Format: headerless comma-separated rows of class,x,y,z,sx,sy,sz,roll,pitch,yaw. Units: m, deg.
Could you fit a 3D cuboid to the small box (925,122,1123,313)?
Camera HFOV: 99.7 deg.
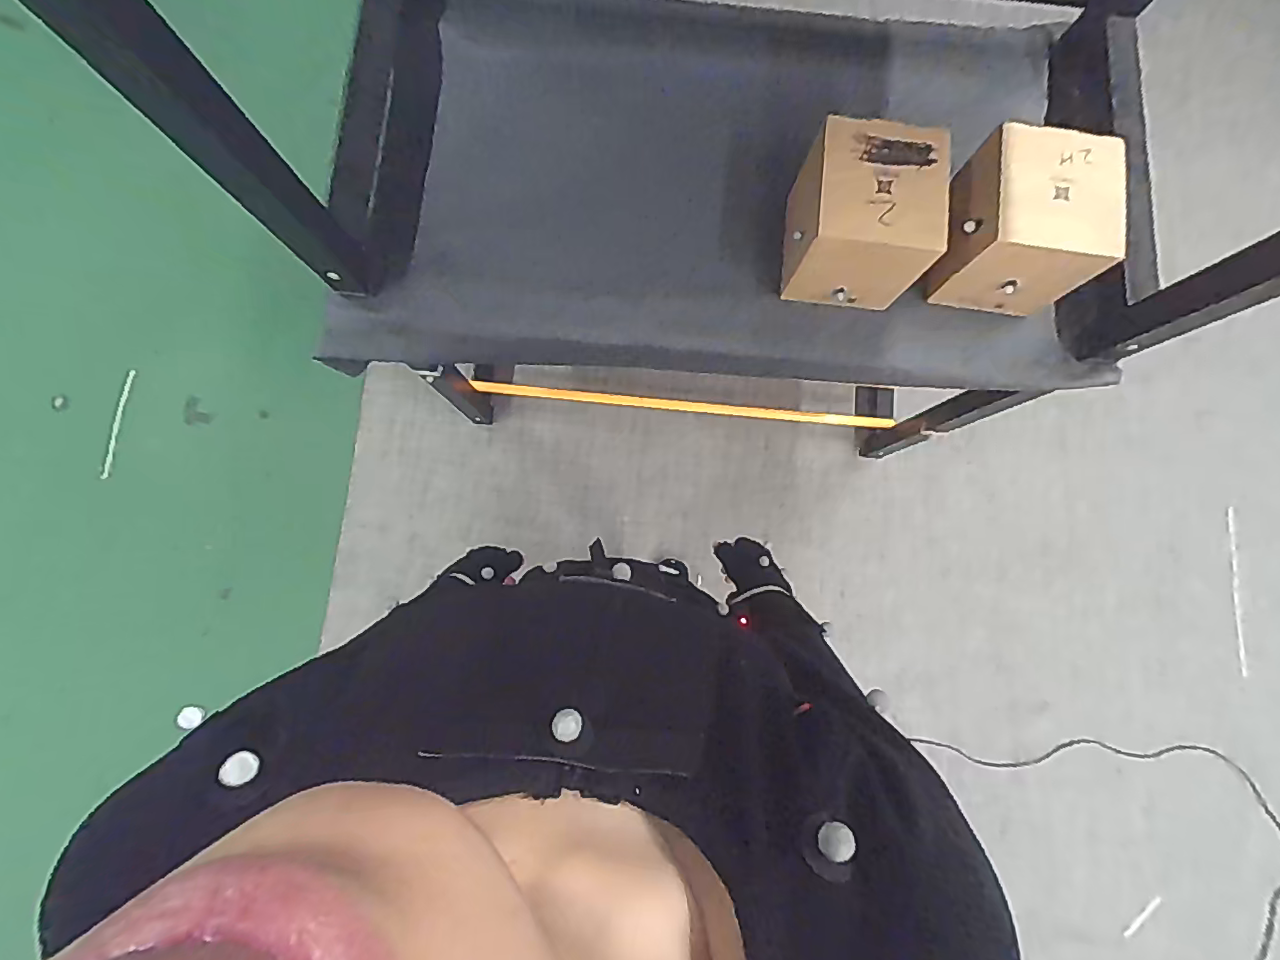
small box,0.534,-0.361,0.774,0.168,0.176,0.179,9,81,-1
